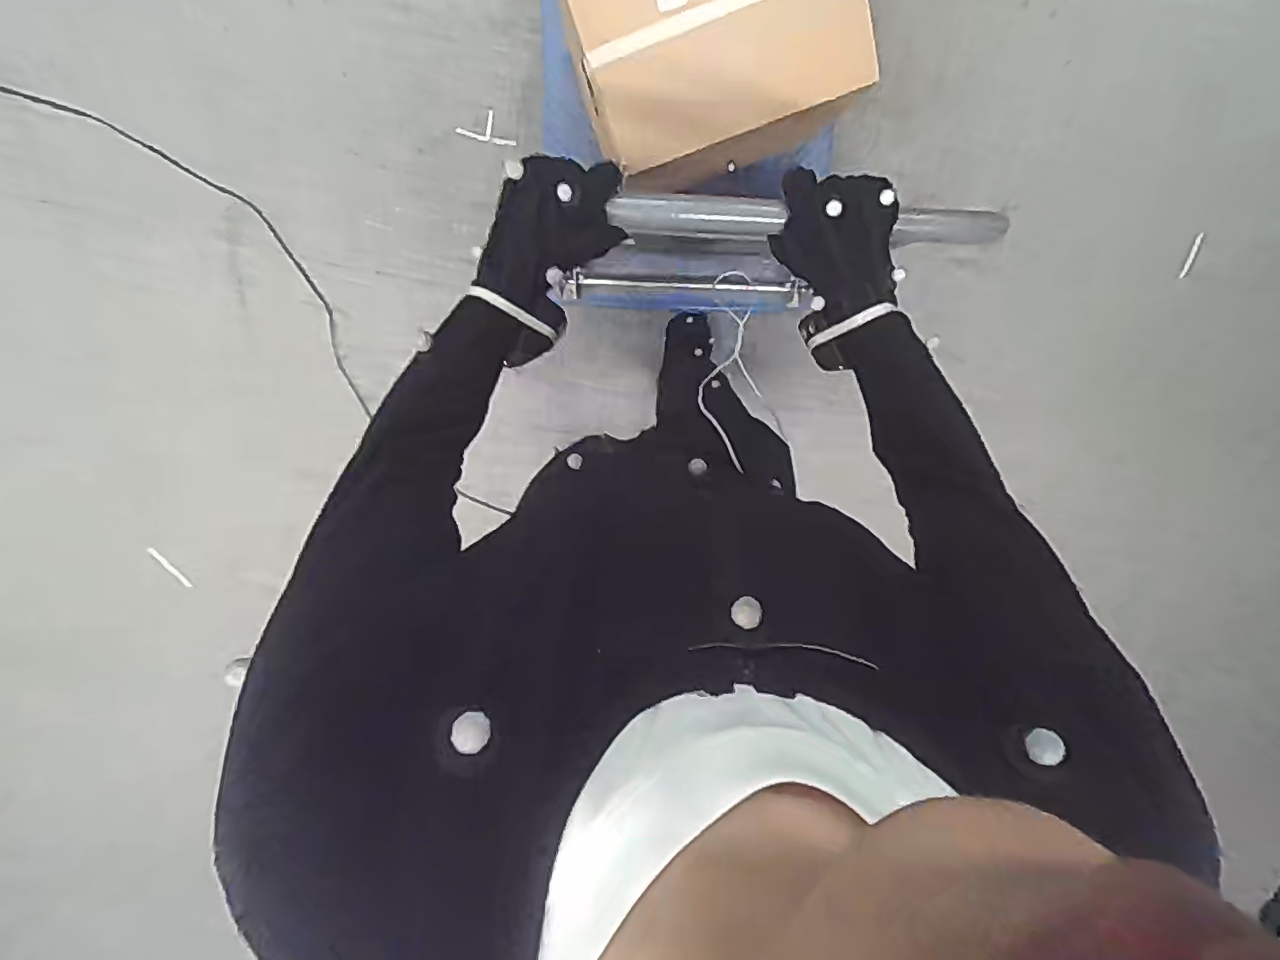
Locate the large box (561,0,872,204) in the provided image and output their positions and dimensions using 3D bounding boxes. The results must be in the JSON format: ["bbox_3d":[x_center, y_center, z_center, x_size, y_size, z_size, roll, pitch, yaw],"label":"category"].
[{"bbox_3d":[0.107,-0.716,0.912,0.408,0.320,0.320,-19,107,4],"label":"large box"}]
